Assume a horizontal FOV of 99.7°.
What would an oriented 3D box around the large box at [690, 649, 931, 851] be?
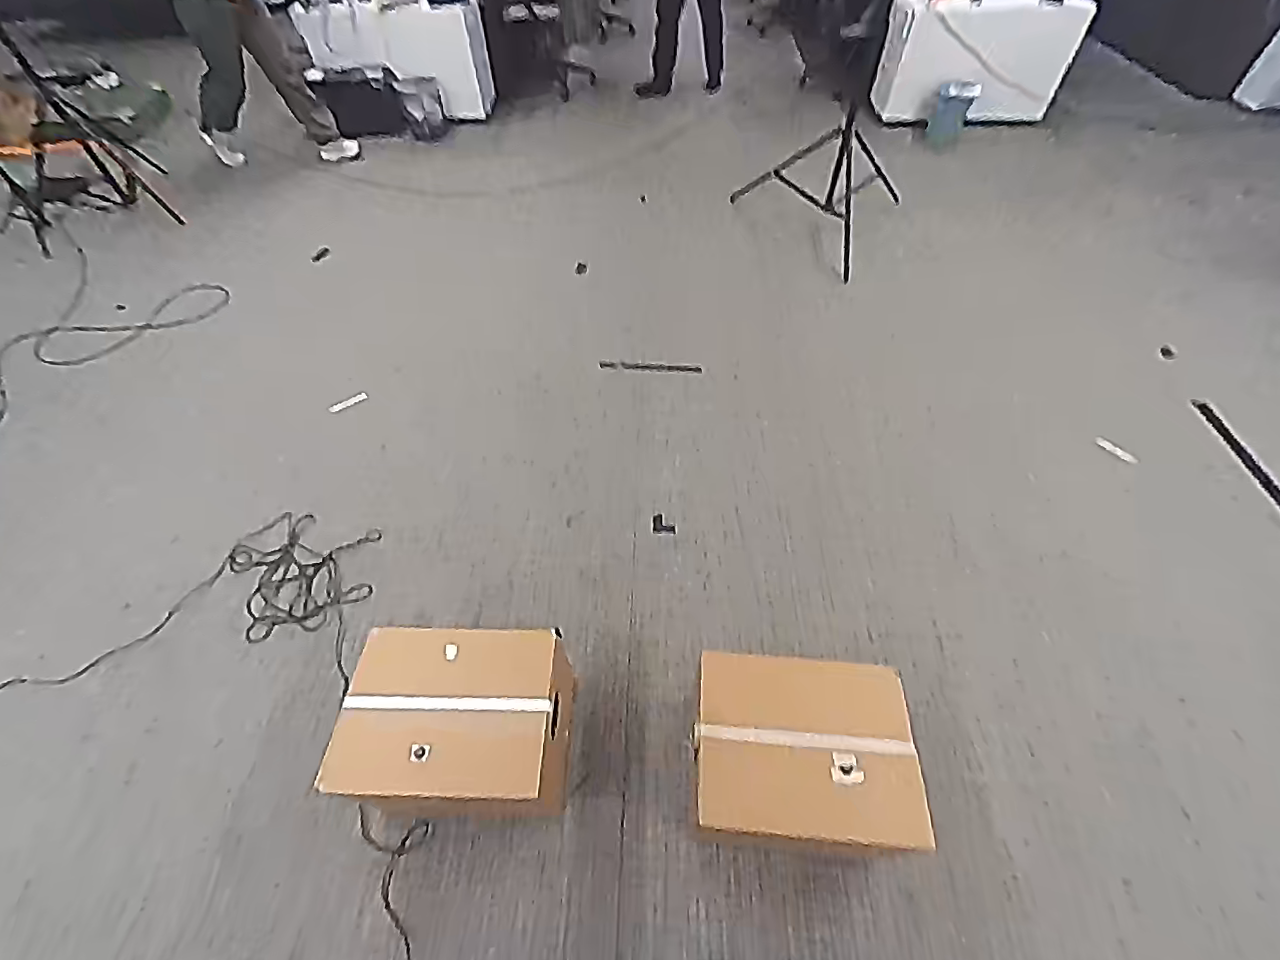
[{"bbox_3d":[0.317,0.577,1.147,0.408,0.320,0.320,4,53,3],"label":"large box"}]
